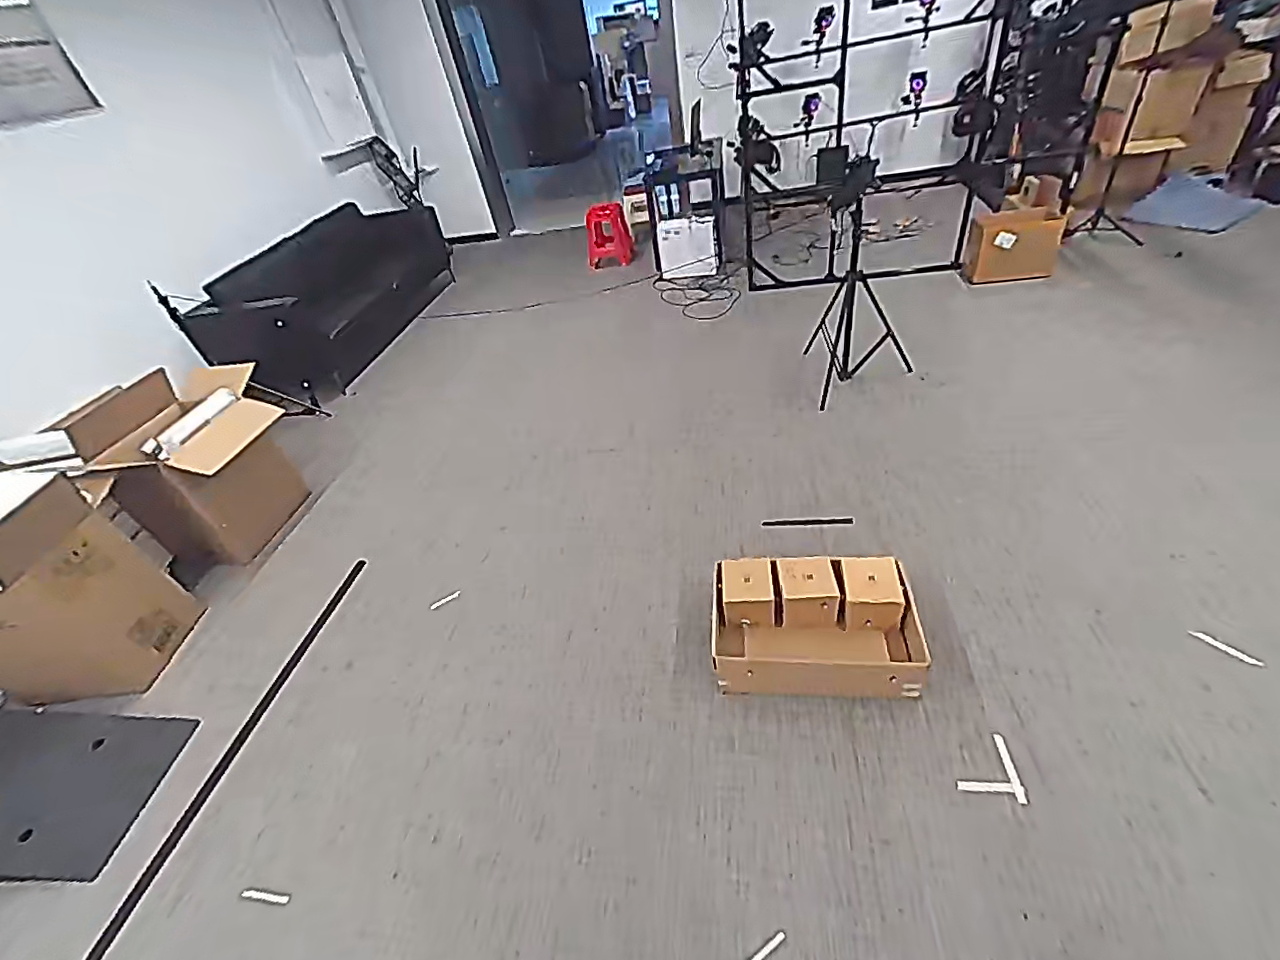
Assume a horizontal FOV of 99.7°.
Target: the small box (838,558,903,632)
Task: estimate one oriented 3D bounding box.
[{"bbox_3d":[0.746,0.374,1.769,0.168,0.176,0.179,-3,43,13],"label":"small box"}]
